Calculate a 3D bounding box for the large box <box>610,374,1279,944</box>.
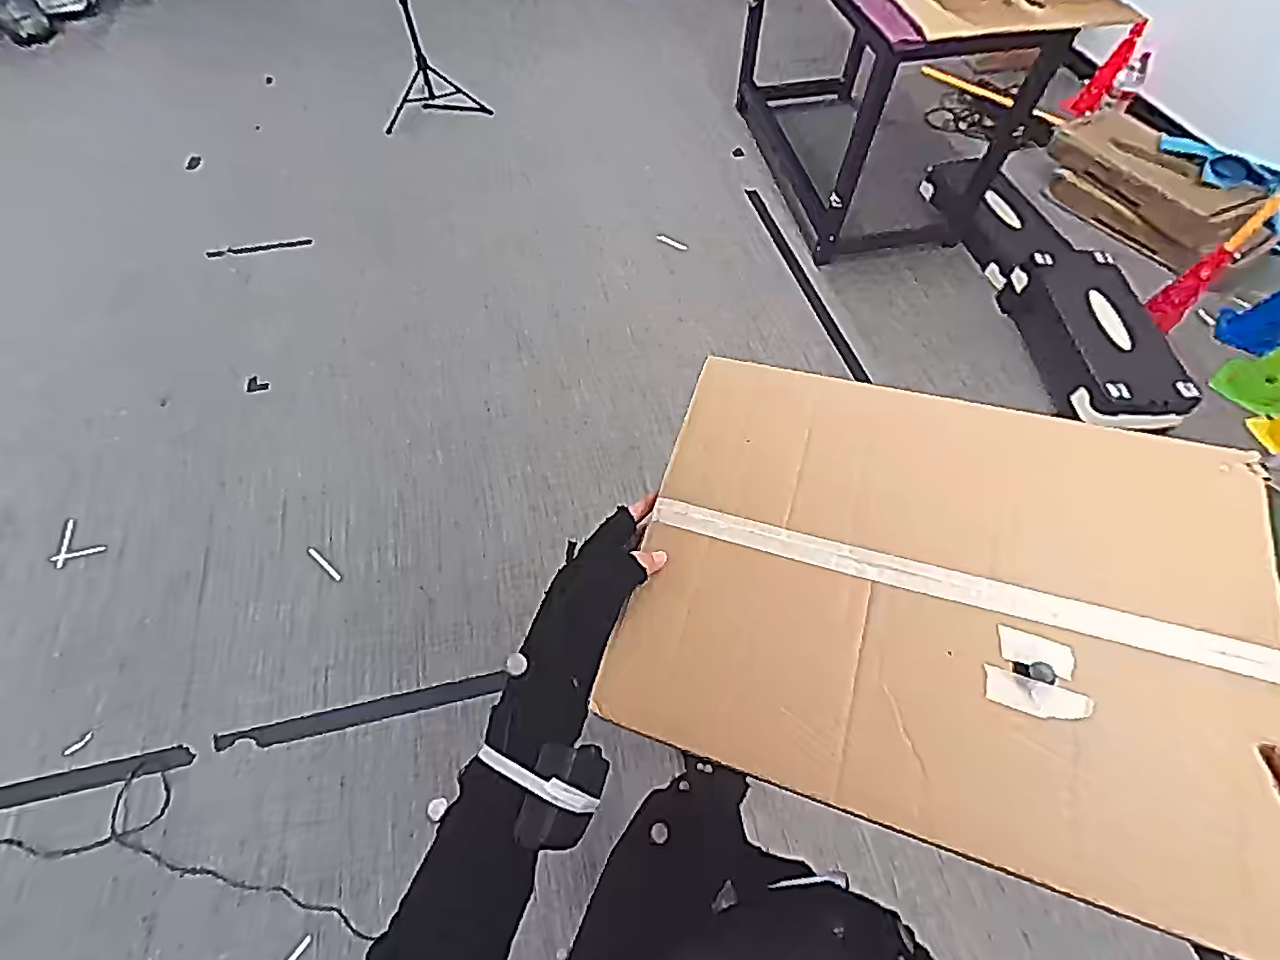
[{"bbox_3d":[0.227,0.140,0.527,0.408,0.320,0.320,14,68,15],"label":"large box"}]
